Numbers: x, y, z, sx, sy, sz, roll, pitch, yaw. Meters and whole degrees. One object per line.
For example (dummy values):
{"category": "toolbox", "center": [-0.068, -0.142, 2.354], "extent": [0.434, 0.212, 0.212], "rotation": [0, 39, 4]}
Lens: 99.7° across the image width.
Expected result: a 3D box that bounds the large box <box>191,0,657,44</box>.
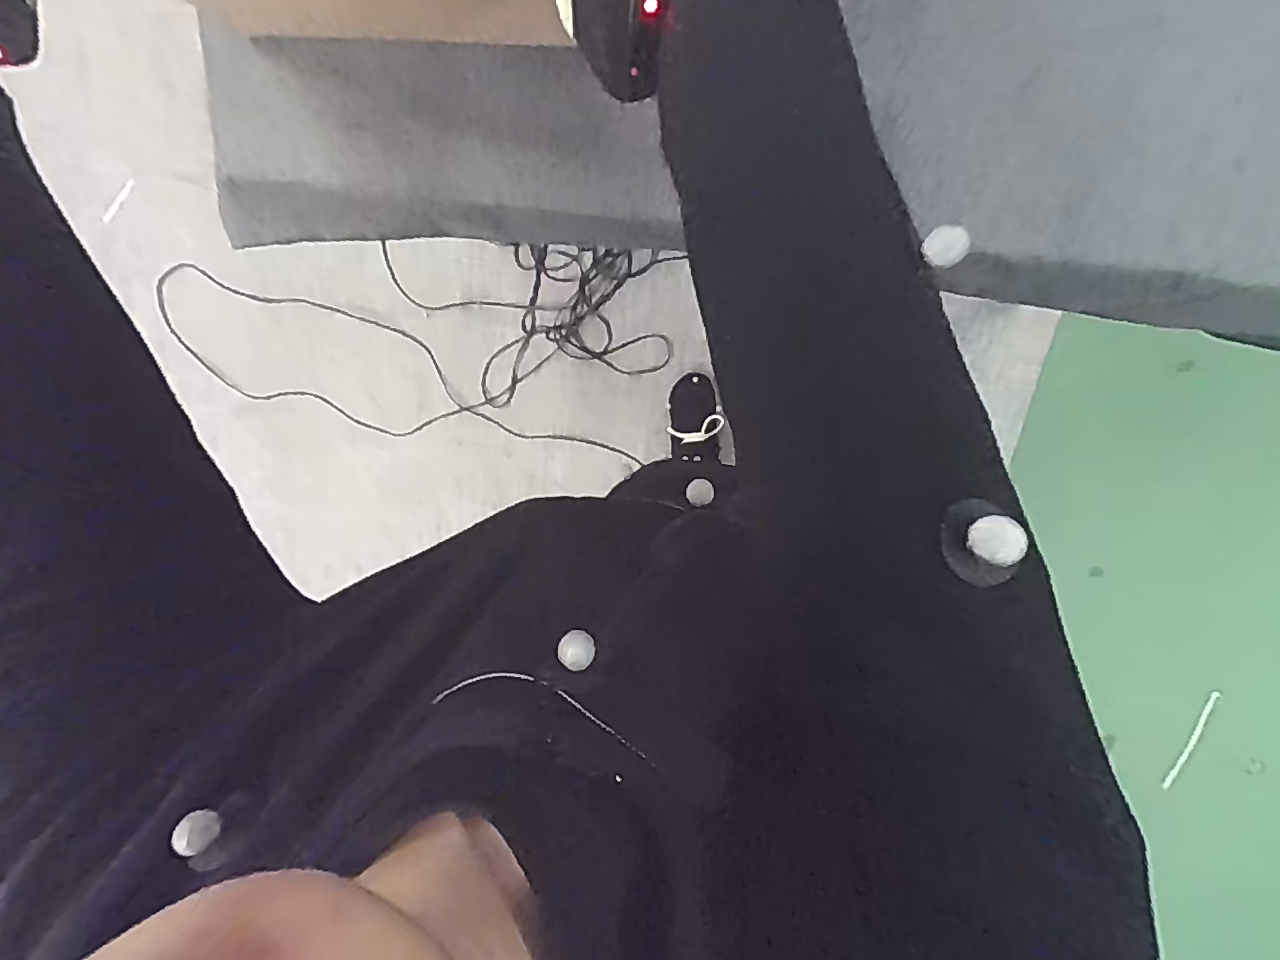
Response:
{"category": "large box", "center": [-0.189, -0.511, 0.324], "extent": [0.408, 0.320, 0.320], "rotation": [4, 110, 4]}
